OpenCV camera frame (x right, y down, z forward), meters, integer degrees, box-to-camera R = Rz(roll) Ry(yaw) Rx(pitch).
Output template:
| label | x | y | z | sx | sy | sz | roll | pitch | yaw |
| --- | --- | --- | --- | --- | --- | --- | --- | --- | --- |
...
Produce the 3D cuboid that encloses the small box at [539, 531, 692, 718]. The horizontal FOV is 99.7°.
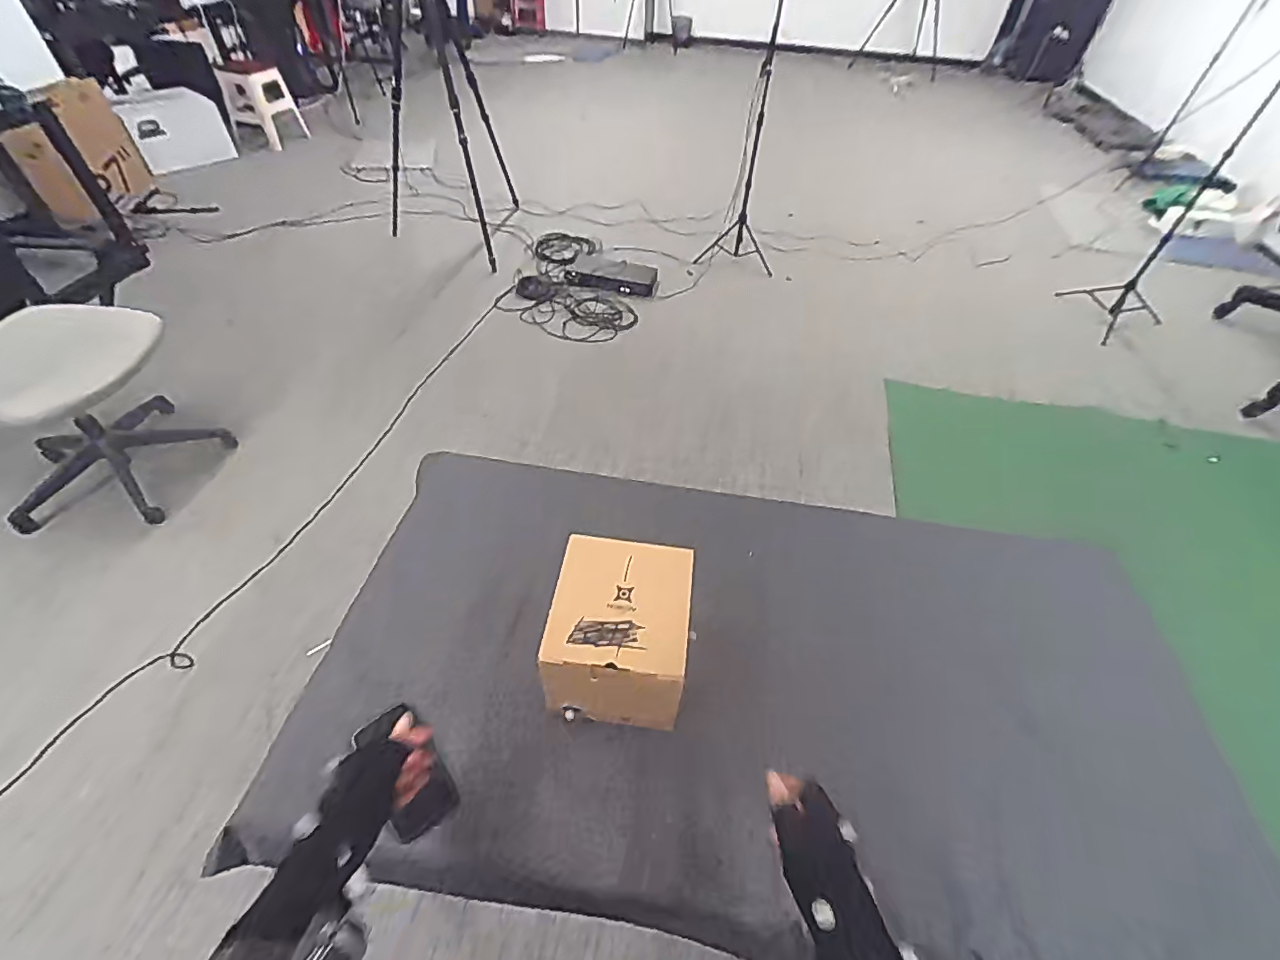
| label | x | y | z | sx | sy | sz | roll | pitch | yaw |
| --- | --- | --- | --- | --- | --- | --- | --- | --- | --- |
| small box | -0.026 | 0.193 | 0.714 | 0.168 | 0.176 | 0.179 | 7 | 47 | 3 |
